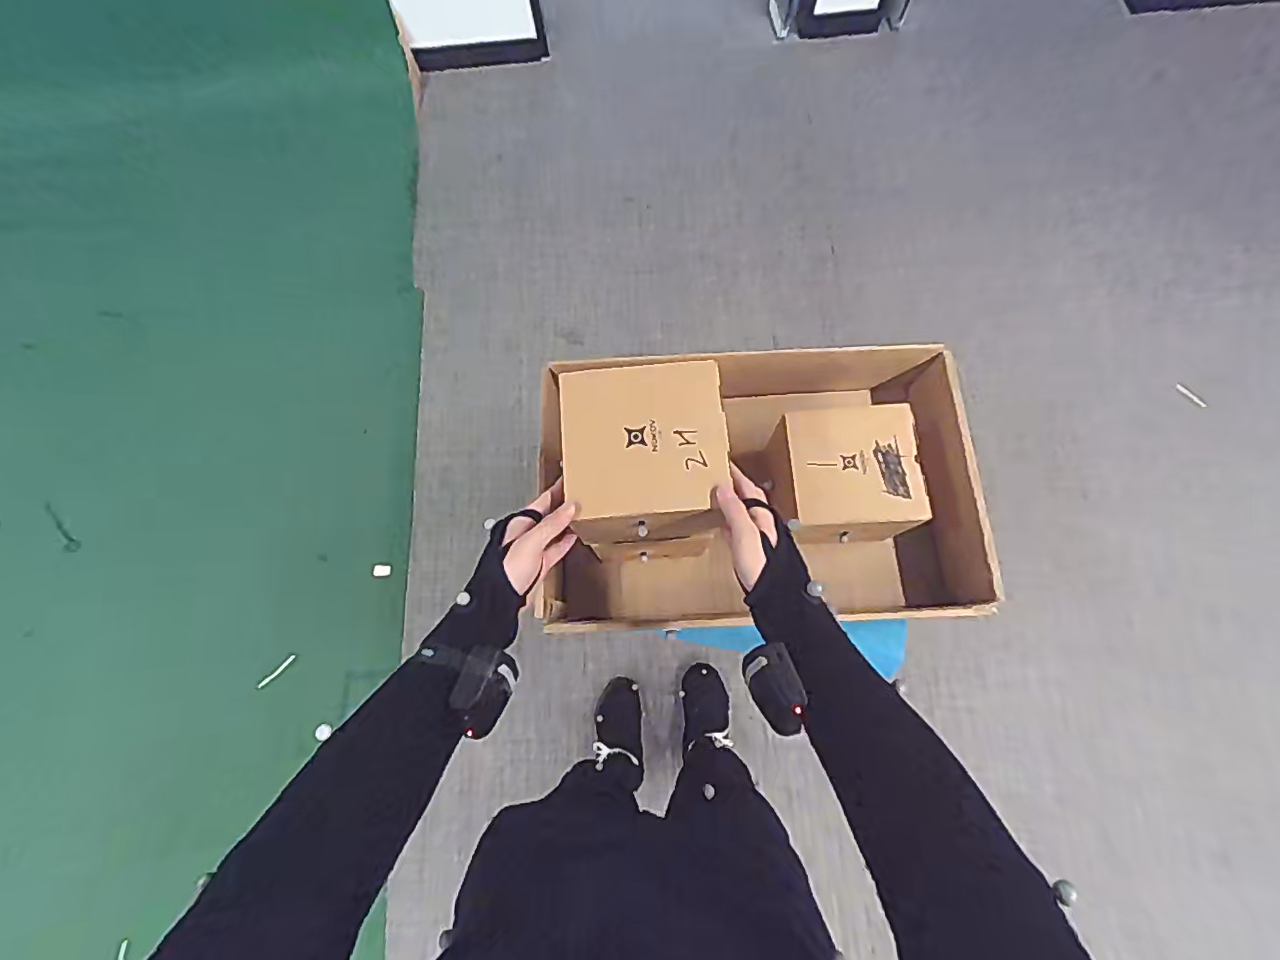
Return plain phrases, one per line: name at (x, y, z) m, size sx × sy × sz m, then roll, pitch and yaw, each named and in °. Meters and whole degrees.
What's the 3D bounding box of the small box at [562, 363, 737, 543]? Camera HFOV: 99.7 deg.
small box at (0.009, -0.022, 0.642) m, size 0.179 × 0.176 × 0.168 m, roll -5°, pitch 75°, yaw 0°
